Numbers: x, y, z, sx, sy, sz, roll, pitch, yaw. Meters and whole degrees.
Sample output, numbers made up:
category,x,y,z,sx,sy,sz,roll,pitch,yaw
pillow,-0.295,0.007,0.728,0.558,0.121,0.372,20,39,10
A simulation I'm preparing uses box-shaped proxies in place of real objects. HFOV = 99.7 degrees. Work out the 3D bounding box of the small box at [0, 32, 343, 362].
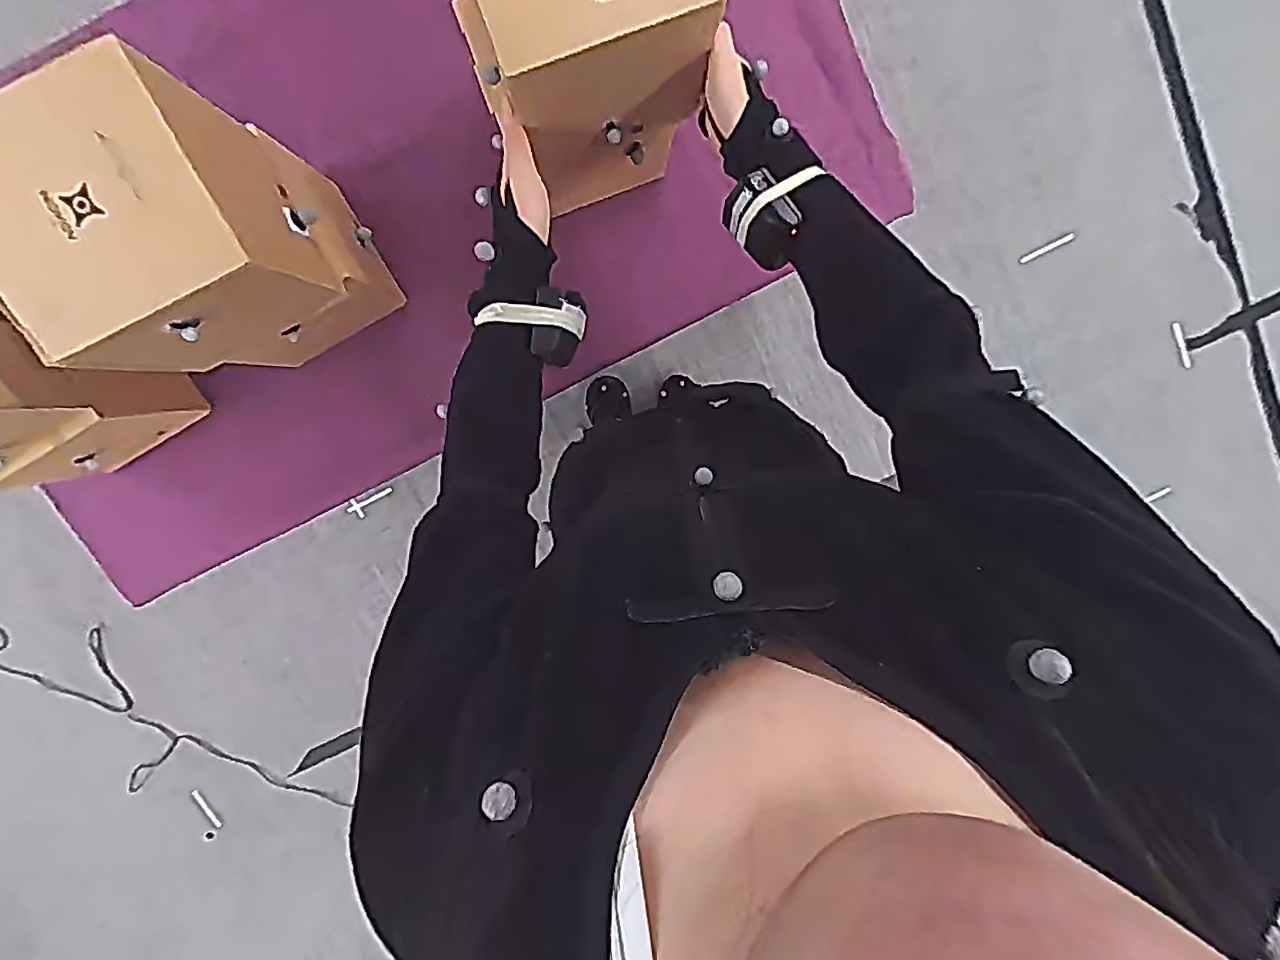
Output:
category,x,y,z,sx,sy,sz,roll,pitch,yaw
small box,-0.403,-0.210,0.461,0.179,0.176,0.168,-27,102,0

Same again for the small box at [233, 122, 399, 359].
category,x,y,z,sx,sy,sz,roll,pitch,yaw
small box,-0.416,-0.250,0.618,0.179,0.176,0.168,-29,100,1

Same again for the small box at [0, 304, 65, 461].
category,x,y,z,sx,sy,sz,roll,pitch,yaw
small box,-0.677,-0.088,0.467,0.179,0.176,0.168,-32,99,2

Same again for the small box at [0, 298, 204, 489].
category,x,y,z,sx,sy,sz,roll,pitch,yaw
small box,-0.677,-0.113,0.630,0.168,0.176,0.179,-30,100,3

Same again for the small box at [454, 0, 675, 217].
category,x,y,z,sx,sy,sz,roll,pitch,yaw
small box,-0.076,-0.425,0.603,0.179,0.176,0.168,-20,100,1
